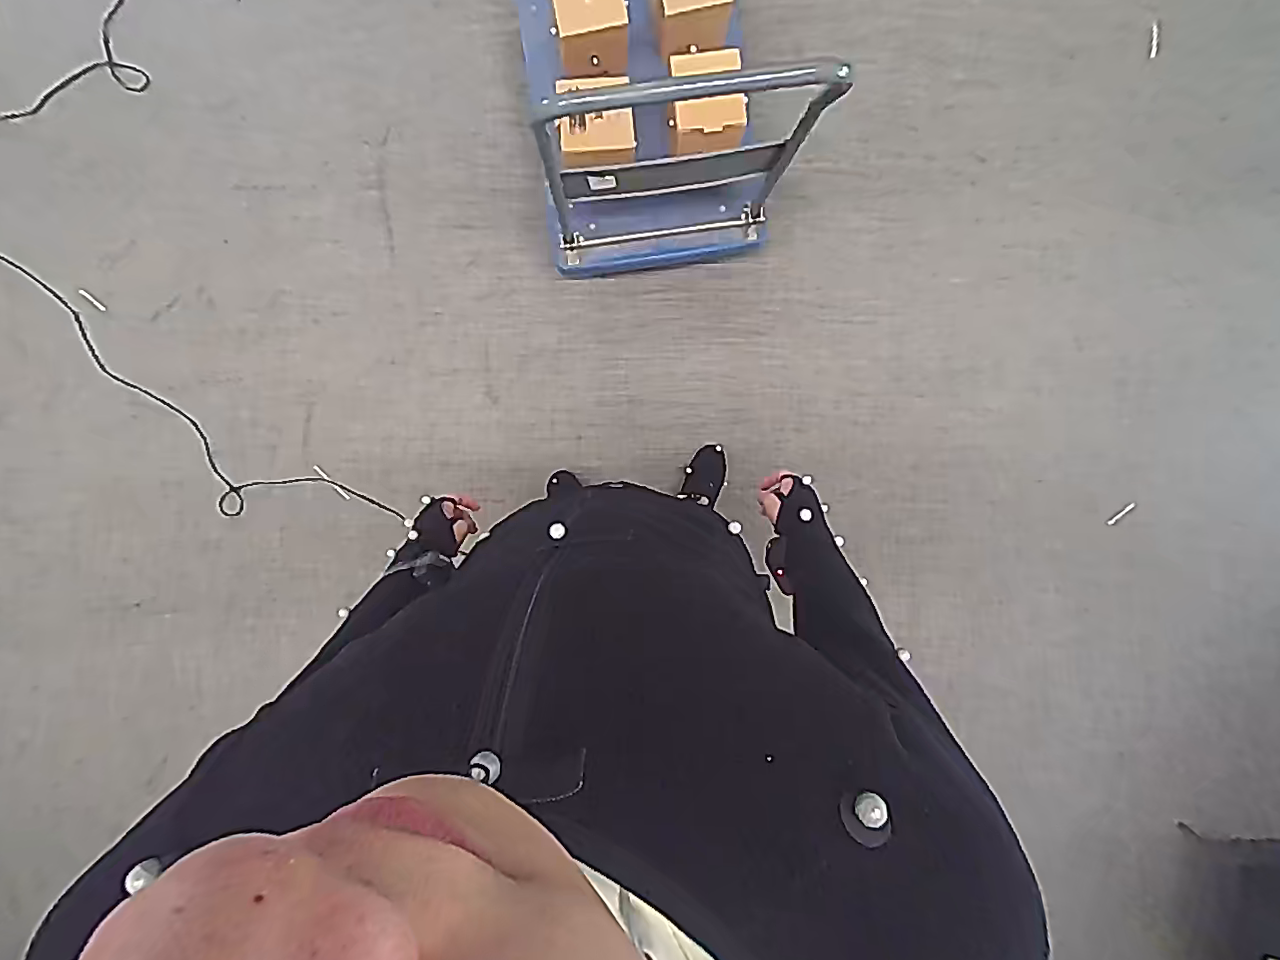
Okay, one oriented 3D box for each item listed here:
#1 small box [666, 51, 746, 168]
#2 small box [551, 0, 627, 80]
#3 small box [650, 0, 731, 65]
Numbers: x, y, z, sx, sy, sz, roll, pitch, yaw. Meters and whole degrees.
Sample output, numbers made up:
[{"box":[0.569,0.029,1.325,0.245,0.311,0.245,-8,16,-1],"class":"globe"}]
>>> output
[{"box":[0.159,-0.924,1.360,0.168,0.176,0.179,-7,93,0],"class":"small box"},{"box":[-0.126,-1.139,1.346,0.168,0.176,0.179,-12,93,-1],"class":"small box"},{"box":[0.120,-1.192,1.346,0.168,0.176,0.179,-11,93,1],"class":"small box"}]
